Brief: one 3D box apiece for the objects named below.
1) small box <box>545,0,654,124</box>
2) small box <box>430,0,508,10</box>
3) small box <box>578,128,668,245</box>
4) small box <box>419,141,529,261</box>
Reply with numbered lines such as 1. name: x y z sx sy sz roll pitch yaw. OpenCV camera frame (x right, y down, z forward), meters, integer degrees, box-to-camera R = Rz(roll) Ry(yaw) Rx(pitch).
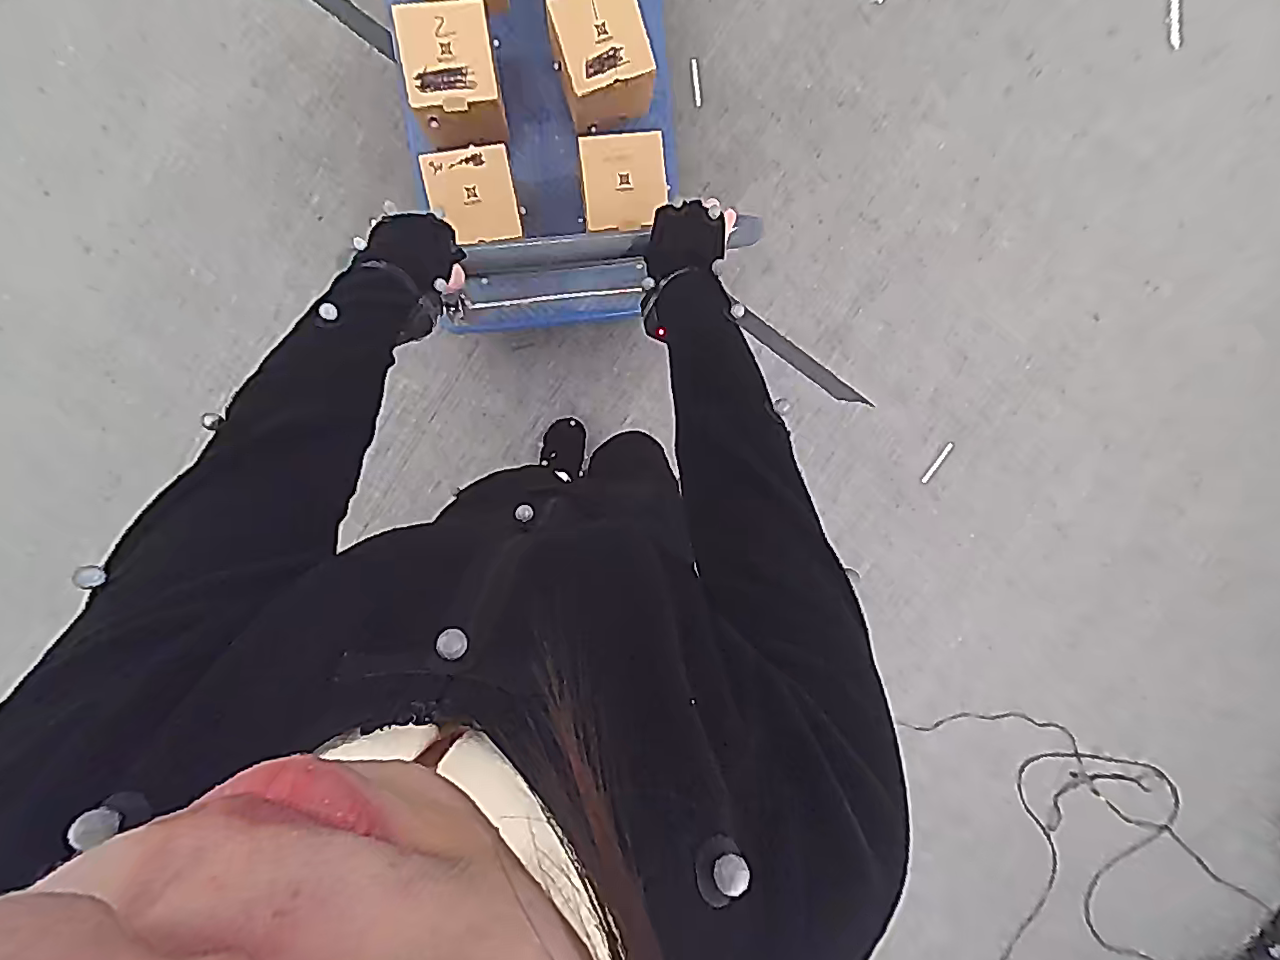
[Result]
1. small box: -0.081 -0.858 1.095 0.168 0.176 0.179 -20 100 -3
2. small box: -0.354 -1.054 1.033 0.168 0.176 0.179 -6 101 -5
3. small box: -0.038 -0.608 1.141 0.168 0.176 0.179 -7 99 -5
4. small box: -0.331 -0.562 1.116 0.168 0.176 0.179 -11 101 -5
